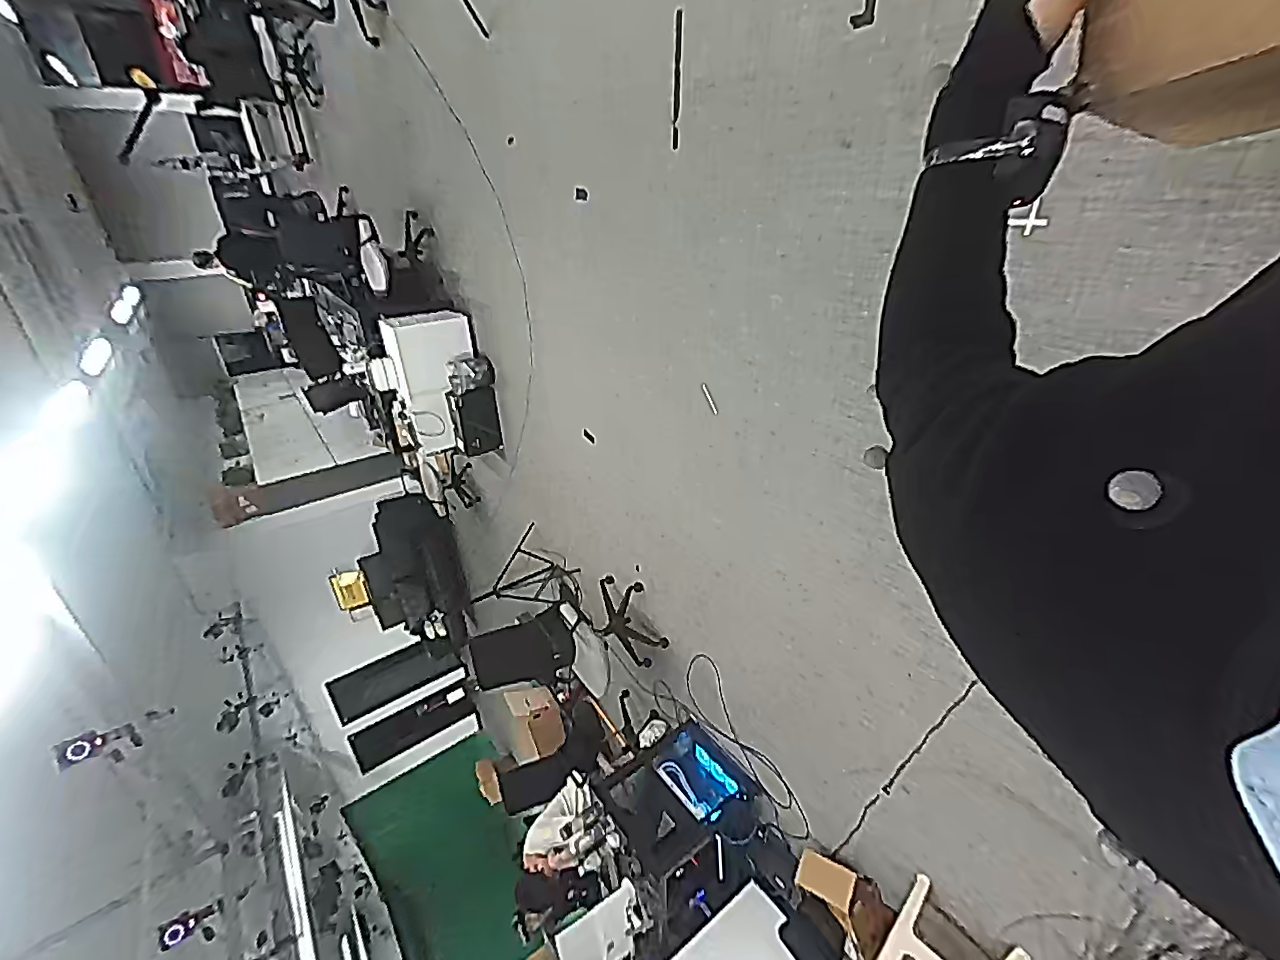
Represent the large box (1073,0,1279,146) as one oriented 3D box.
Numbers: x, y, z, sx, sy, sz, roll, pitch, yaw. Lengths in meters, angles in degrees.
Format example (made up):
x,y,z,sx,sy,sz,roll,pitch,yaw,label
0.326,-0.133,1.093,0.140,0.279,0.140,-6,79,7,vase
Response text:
x,y,z,sx,sy,sz,roll,pitch,yaw,label
0.551,-0.434,0.297,0.408,0.320,0.320,14,114,55,large box
